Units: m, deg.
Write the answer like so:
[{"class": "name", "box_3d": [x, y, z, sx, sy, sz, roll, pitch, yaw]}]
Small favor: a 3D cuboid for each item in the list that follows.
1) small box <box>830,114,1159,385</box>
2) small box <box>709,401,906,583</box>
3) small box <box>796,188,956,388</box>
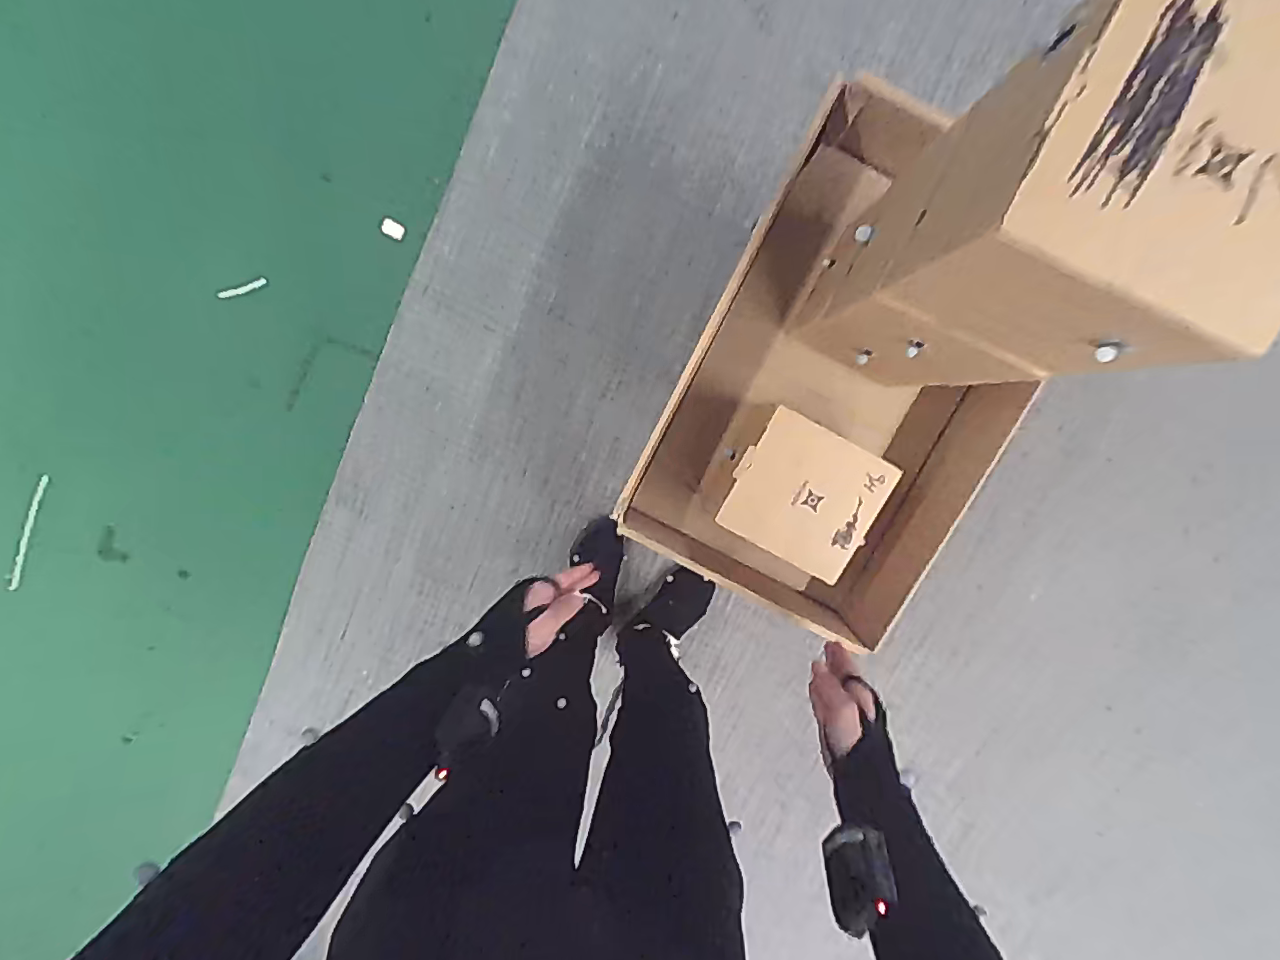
[{"class": "small box", "box_3d": [0.323, -0.205, 0.537, 0.179, 0.176, 0.168, 26, 98, -1]}, {"class": "small box", "box_3d": [0.208, 0.009, 0.733, 0.179, 0.176, 0.168, 29, 97, -2]}, {"class": "small box", "box_3d": [0.332, -0.232, 0.699, 0.179, 0.176, 0.168, 28, 99, -1]}]
